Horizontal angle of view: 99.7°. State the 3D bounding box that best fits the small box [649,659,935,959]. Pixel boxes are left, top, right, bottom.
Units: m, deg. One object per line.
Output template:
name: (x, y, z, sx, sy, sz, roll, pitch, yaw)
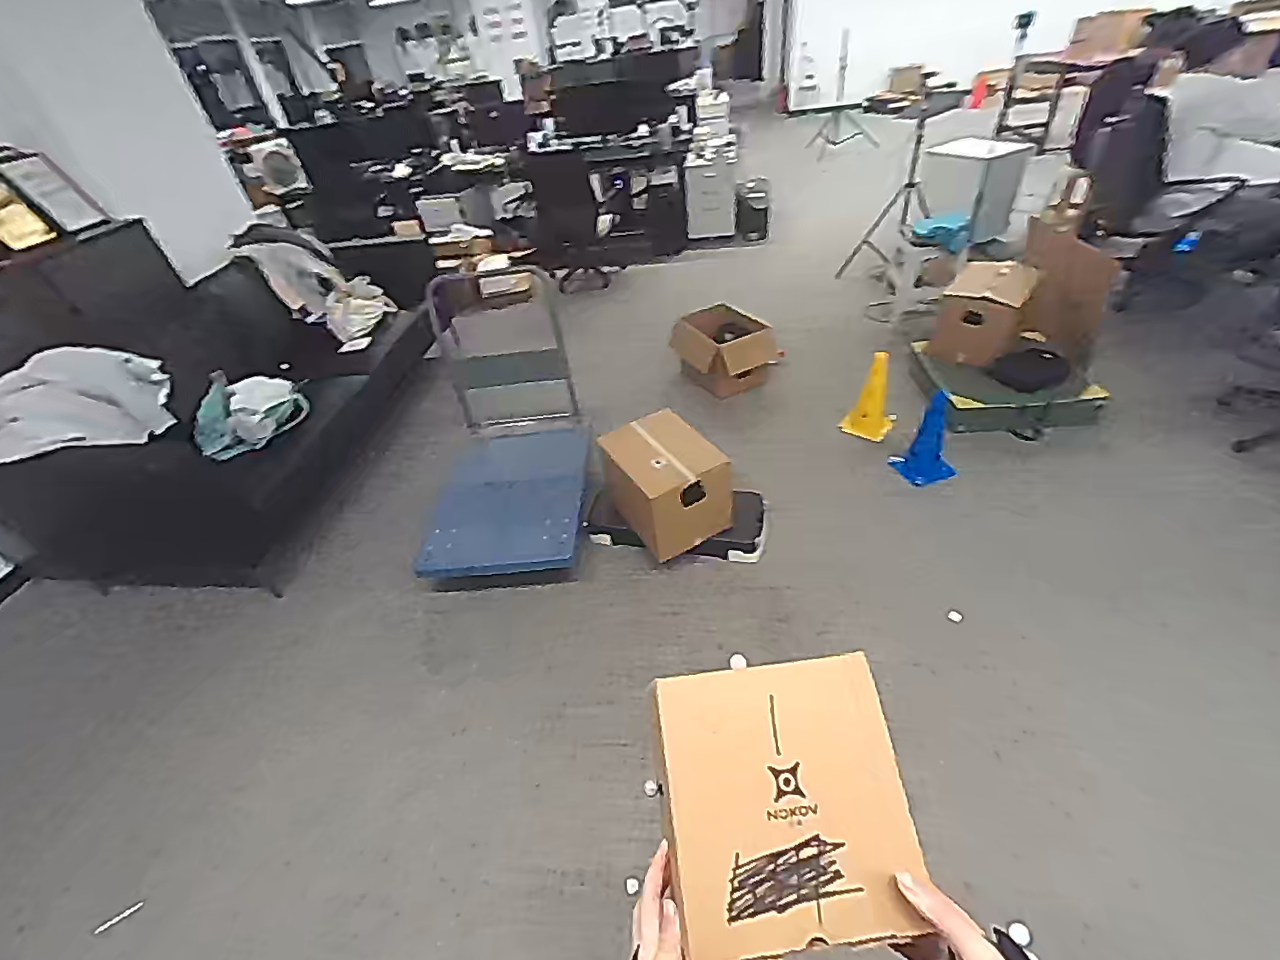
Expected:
small box: (0.099, 0.252, 0.447, 0.168, 0.176, 0.179, -5, 67, -5)
